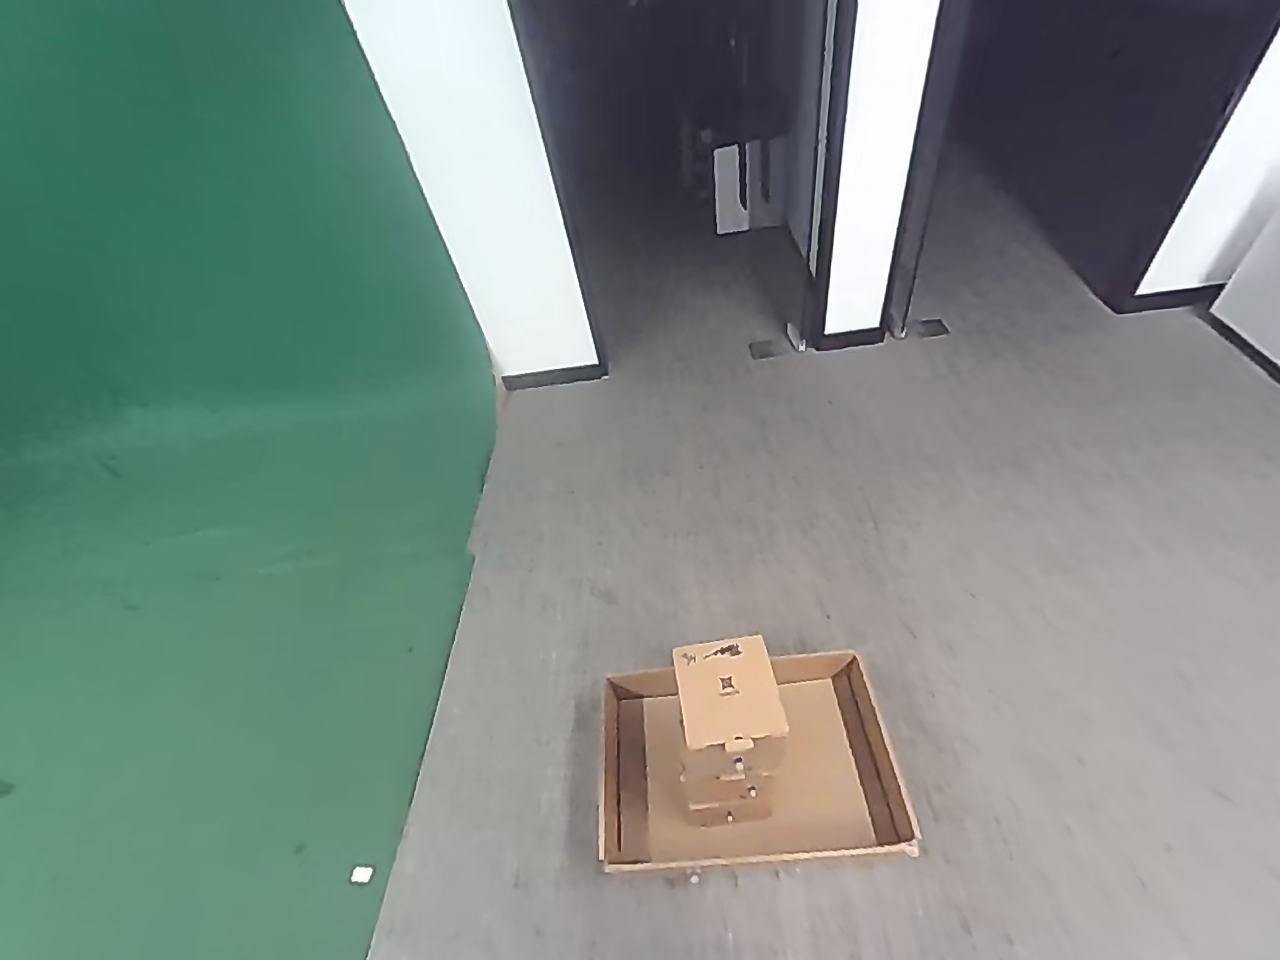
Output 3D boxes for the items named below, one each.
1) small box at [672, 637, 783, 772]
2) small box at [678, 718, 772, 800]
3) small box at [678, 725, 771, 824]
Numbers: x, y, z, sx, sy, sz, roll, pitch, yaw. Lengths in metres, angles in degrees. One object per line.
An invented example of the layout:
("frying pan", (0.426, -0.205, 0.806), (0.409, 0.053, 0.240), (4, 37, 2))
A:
("small box", (0.152, 0.406, 0.965), (0.168, 0.176, 0.179), (-8, 46, 2))
("small box", (0.165, 0.522, 1.079), (0.168, 0.176, 0.179), (-5, 44, 3))
("small box", (0.184, 0.639, 1.188), (0.179, 0.176, 0.168), (-9, 45, 5))
